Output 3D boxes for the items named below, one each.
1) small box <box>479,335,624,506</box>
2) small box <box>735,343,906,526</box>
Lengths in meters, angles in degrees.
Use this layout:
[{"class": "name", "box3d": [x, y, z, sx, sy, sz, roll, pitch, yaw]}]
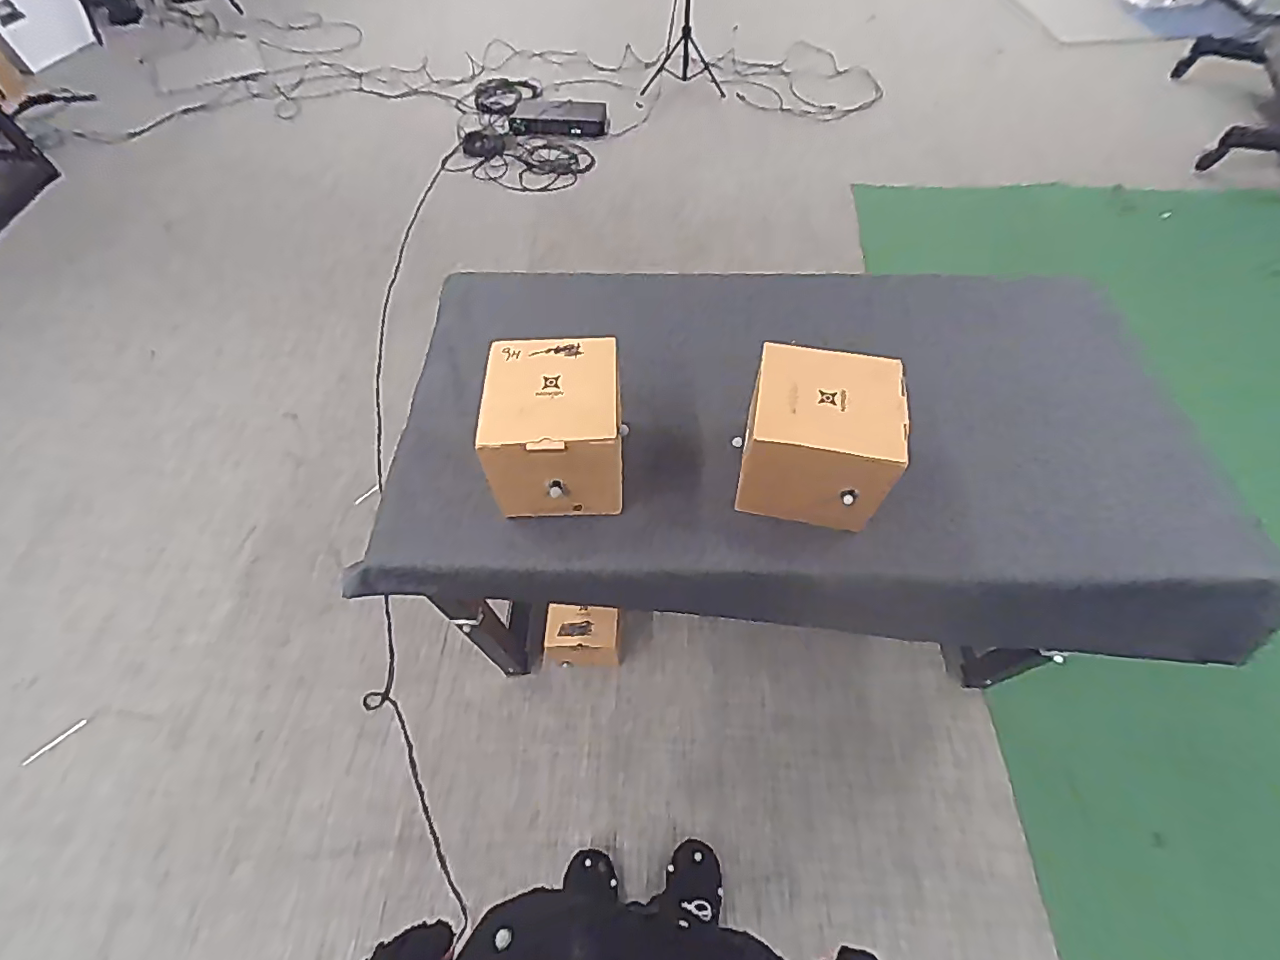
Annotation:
[{"class": "small box", "box3d": [-0.106, -0.074, 0.738, 0.168, 0.176, 0.179, -1, 58, 0]}, {"class": "small box", "box3d": [0.233, -0.054, 0.725, 0.179, 0.176, 0.168, 10, 58, 8]}]
